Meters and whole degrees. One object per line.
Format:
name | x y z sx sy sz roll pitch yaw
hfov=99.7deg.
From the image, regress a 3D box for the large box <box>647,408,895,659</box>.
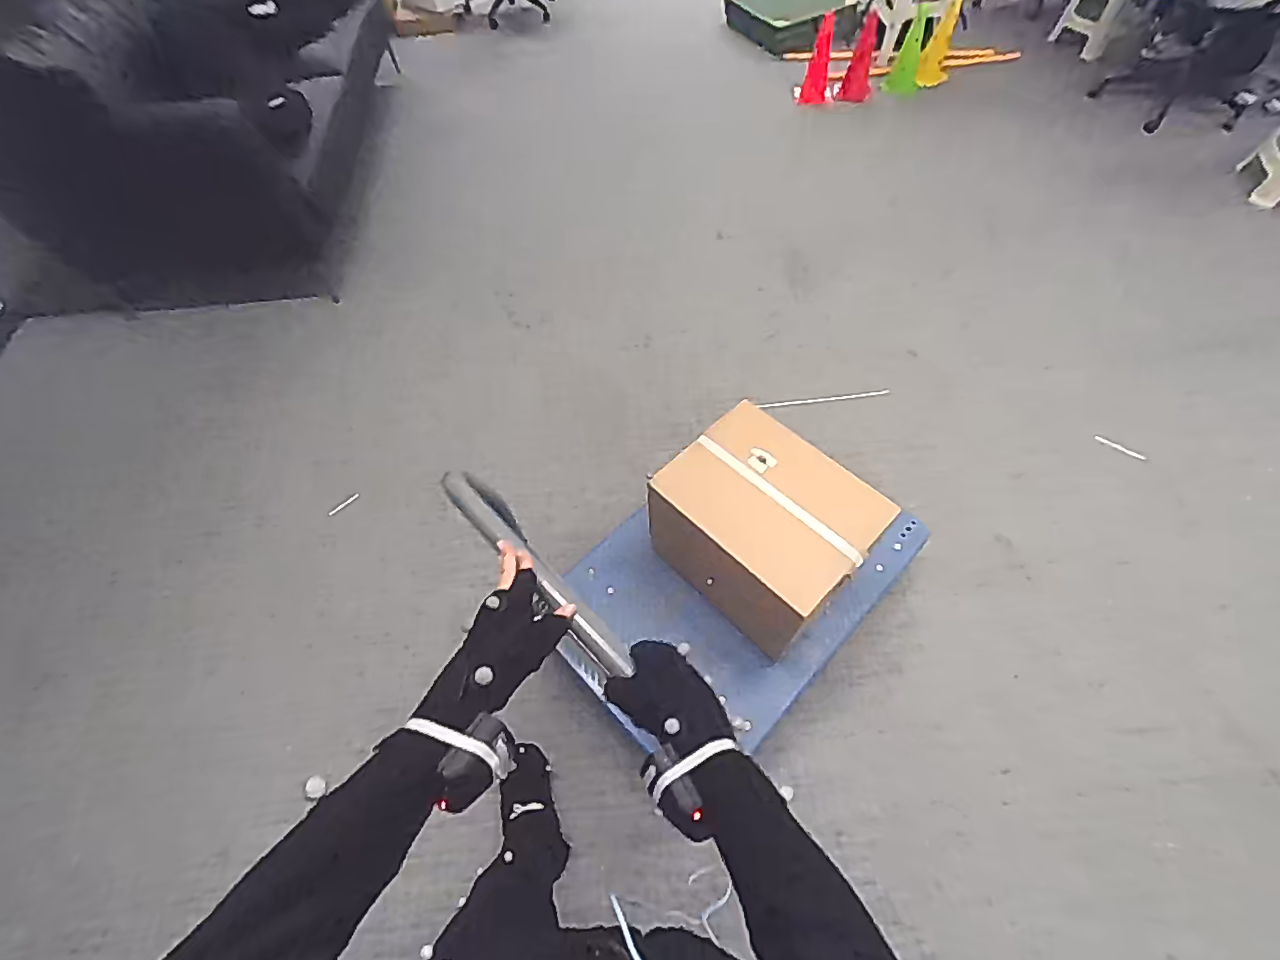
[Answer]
large box | 0.270 0.122 1.217 0.320 0.320 0.408 -39 62 -21
